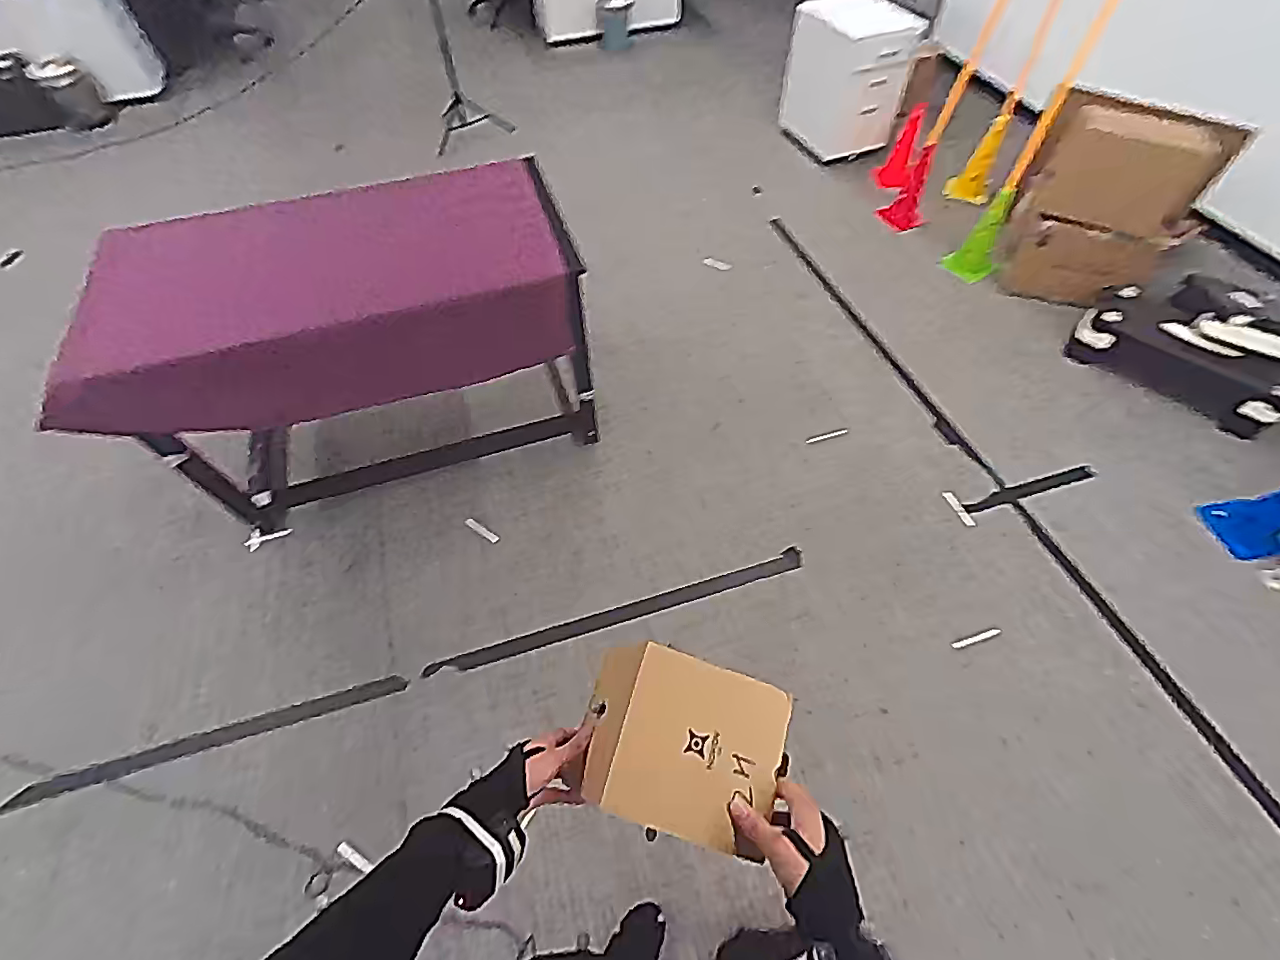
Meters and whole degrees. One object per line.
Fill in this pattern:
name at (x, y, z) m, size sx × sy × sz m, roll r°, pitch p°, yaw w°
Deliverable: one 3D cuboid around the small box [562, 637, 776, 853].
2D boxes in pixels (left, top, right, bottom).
small box at (0.026, 0.298, 0.631) m, size 0.179 × 0.176 × 0.168 m, roll 25°, pitch 64°, yaw -12°
